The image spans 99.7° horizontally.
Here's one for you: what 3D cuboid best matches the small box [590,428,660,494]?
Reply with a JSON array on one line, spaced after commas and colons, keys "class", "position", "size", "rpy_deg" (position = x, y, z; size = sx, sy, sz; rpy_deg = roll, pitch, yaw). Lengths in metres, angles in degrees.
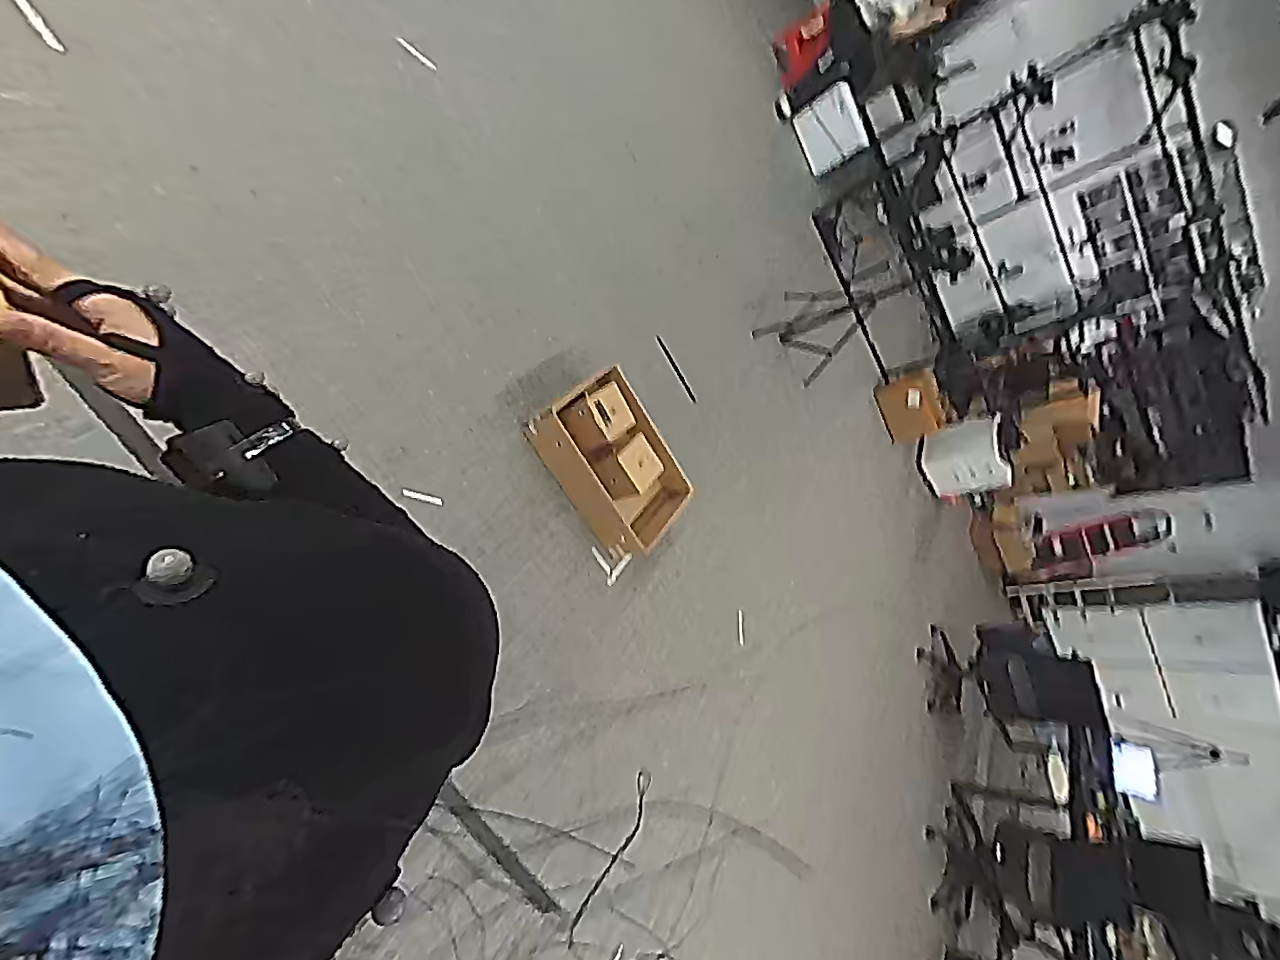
[{"class": "small box", "position": [-0.062, -0.066, 2.027], "size": [0.168, 0.176, 0.179], "rpy_deg": [57, 47, -18]}]
